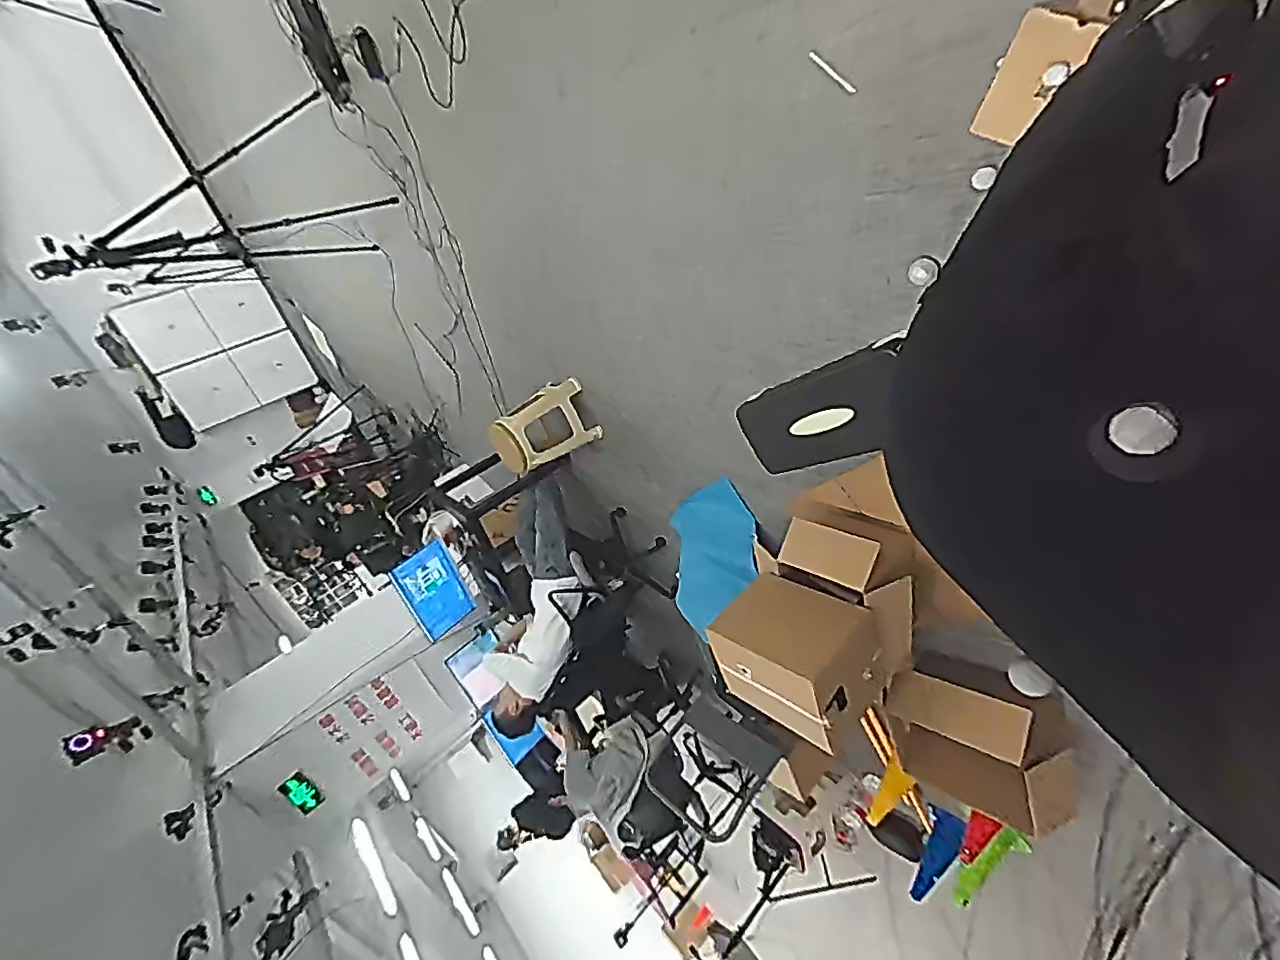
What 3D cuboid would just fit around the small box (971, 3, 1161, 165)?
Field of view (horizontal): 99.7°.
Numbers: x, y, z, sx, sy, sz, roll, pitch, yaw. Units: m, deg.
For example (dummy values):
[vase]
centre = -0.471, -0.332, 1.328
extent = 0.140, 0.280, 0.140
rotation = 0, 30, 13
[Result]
[small box]
centre = 0.712, -0.667, 0.908
extent = 0.168, 0.176, 0.179
rotation = 40, 147, 25
